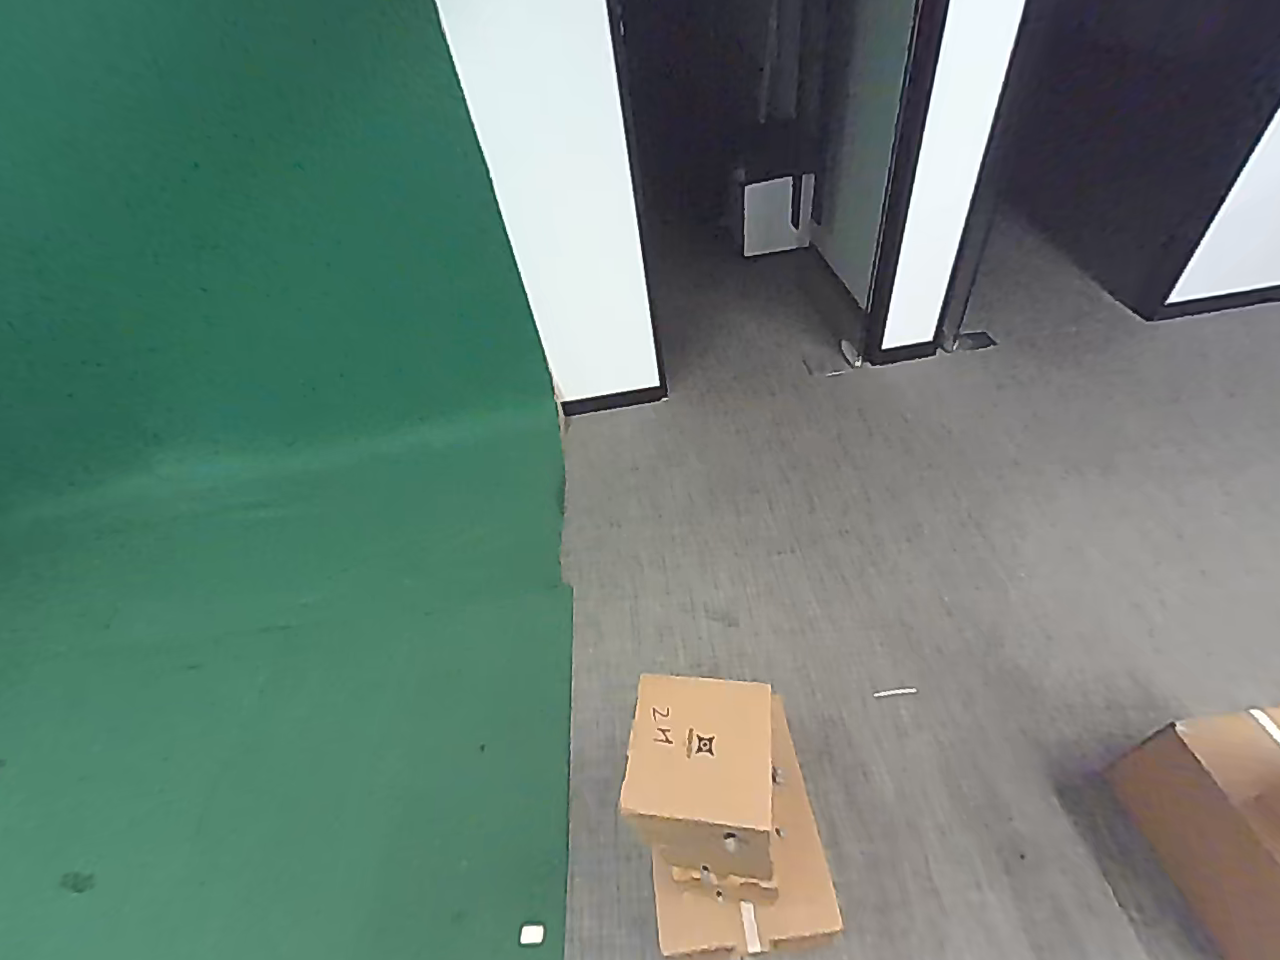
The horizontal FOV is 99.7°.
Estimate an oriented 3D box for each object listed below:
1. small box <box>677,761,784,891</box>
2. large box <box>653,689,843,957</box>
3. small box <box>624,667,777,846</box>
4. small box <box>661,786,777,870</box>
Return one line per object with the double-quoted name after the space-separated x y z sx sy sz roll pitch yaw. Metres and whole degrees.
0.159 0.596 0.950 0.168 0.176 0.179 -3 46 11 "small box"
0.200 0.726 1.158 0.320 0.320 0.408 -10 44 2 "large box"
0.091 0.371 0.723 0.179 0.176 0.168 0 47 14 "small box"
0.127 0.479 0.842 0.168 0.176 0.179 -1 47 13 "small box"
